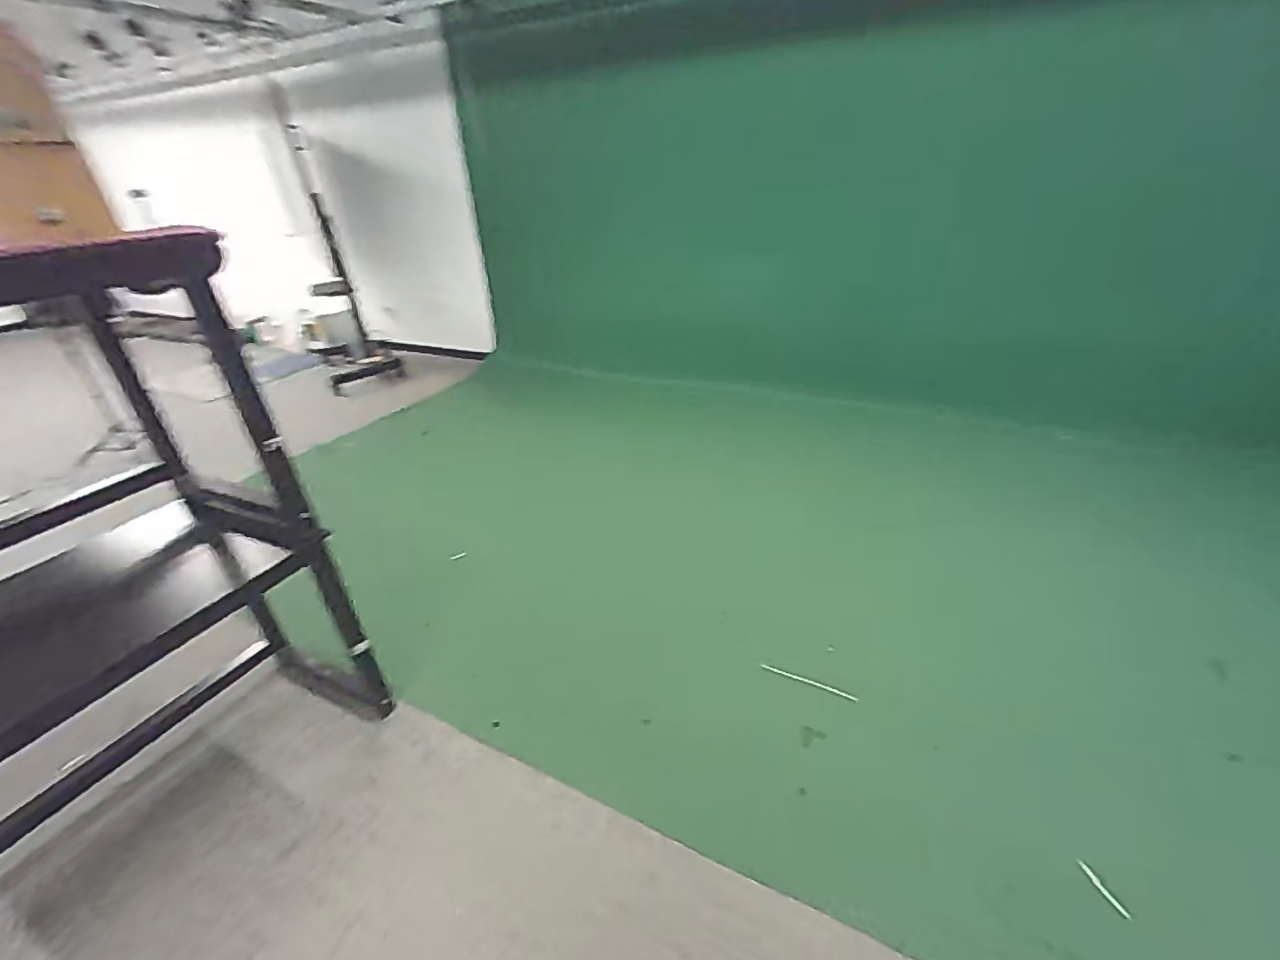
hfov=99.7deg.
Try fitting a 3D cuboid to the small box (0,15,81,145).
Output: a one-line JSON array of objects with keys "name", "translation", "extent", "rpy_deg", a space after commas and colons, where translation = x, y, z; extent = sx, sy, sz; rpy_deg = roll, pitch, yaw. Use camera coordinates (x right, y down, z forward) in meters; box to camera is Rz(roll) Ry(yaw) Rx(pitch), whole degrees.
[{"name": "small box", "translation": [-1.073, -0.642, 0.880], "extent": [0.179, 0.176, 0.168], "rpy_deg": [24, 41, 34]}]

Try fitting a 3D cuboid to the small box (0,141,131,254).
[{"name": "small box", "translation": [-1.073, -0.505, 0.967], "extent": [0.179, 0.176, 0.168], "rpy_deg": [20, 38, 32]}]
